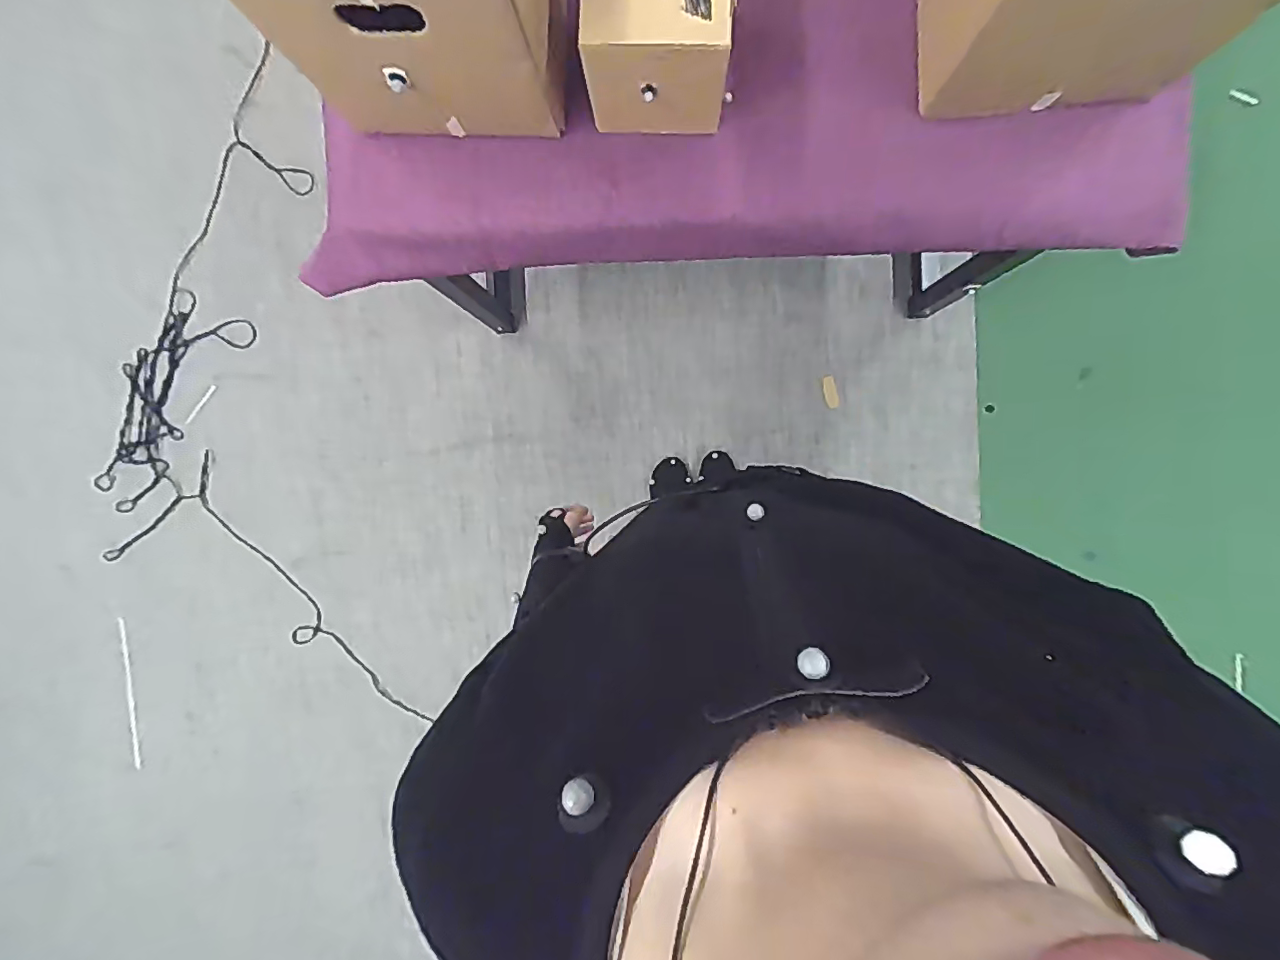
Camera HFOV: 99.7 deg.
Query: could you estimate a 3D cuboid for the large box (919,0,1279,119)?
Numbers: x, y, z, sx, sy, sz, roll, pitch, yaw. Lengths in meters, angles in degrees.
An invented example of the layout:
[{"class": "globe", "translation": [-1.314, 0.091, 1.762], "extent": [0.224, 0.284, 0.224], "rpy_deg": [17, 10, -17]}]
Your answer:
[{"class": "large box", "translation": [0.521, -0.699, 0.586], "extent": [0.320, 0.320, 0.408], "rpy_deg": [-2, 92, 6]}]
